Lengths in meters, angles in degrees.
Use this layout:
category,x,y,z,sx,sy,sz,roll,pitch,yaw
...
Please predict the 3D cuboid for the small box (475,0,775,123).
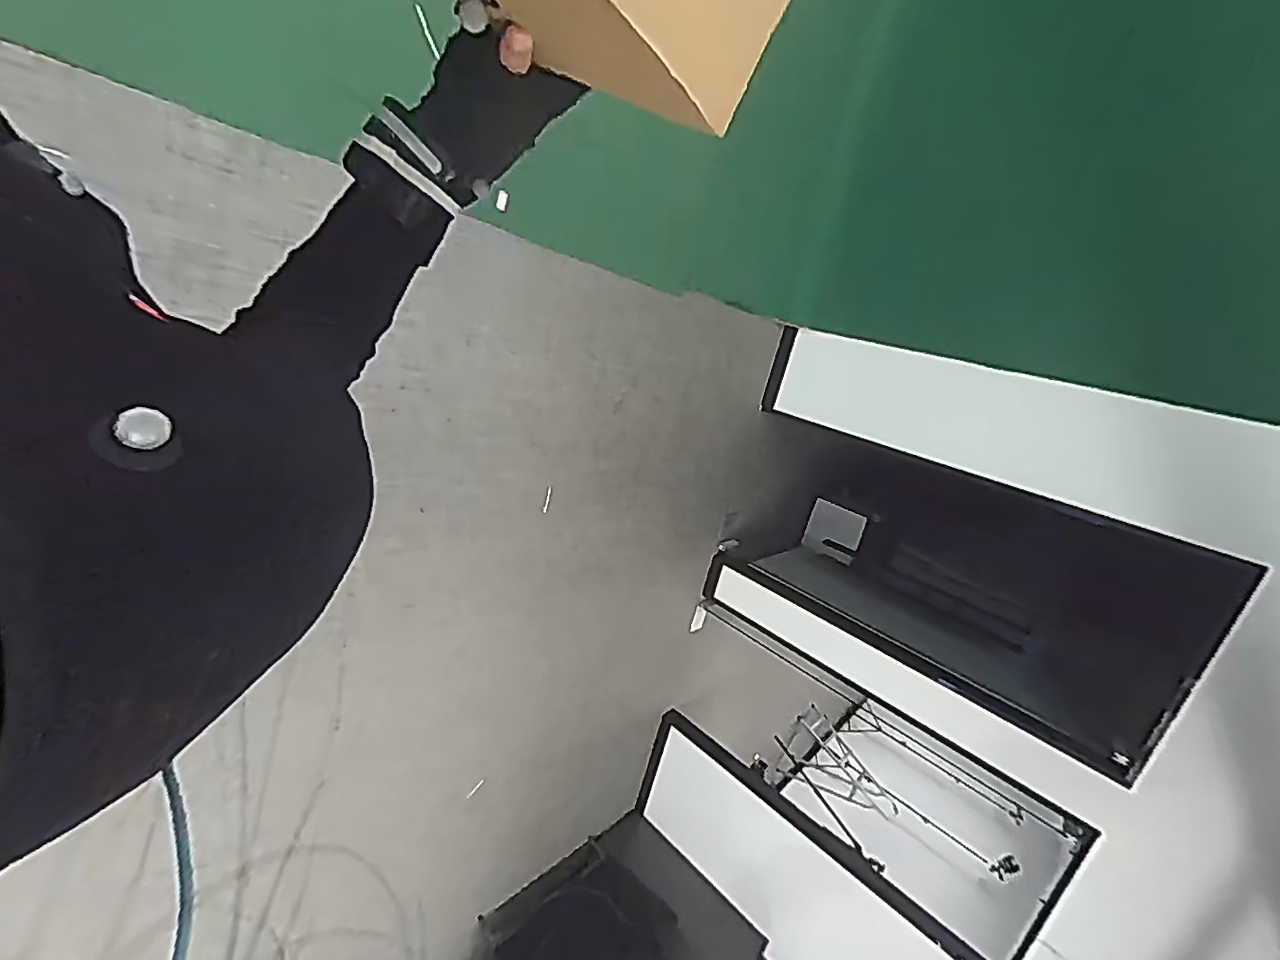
category,x,y,z,sx,sy,sz,roll,pitch,yaw
small box,-0.020,-0.309,0.242,0.179,0.176,0.168,-17,139,-61
